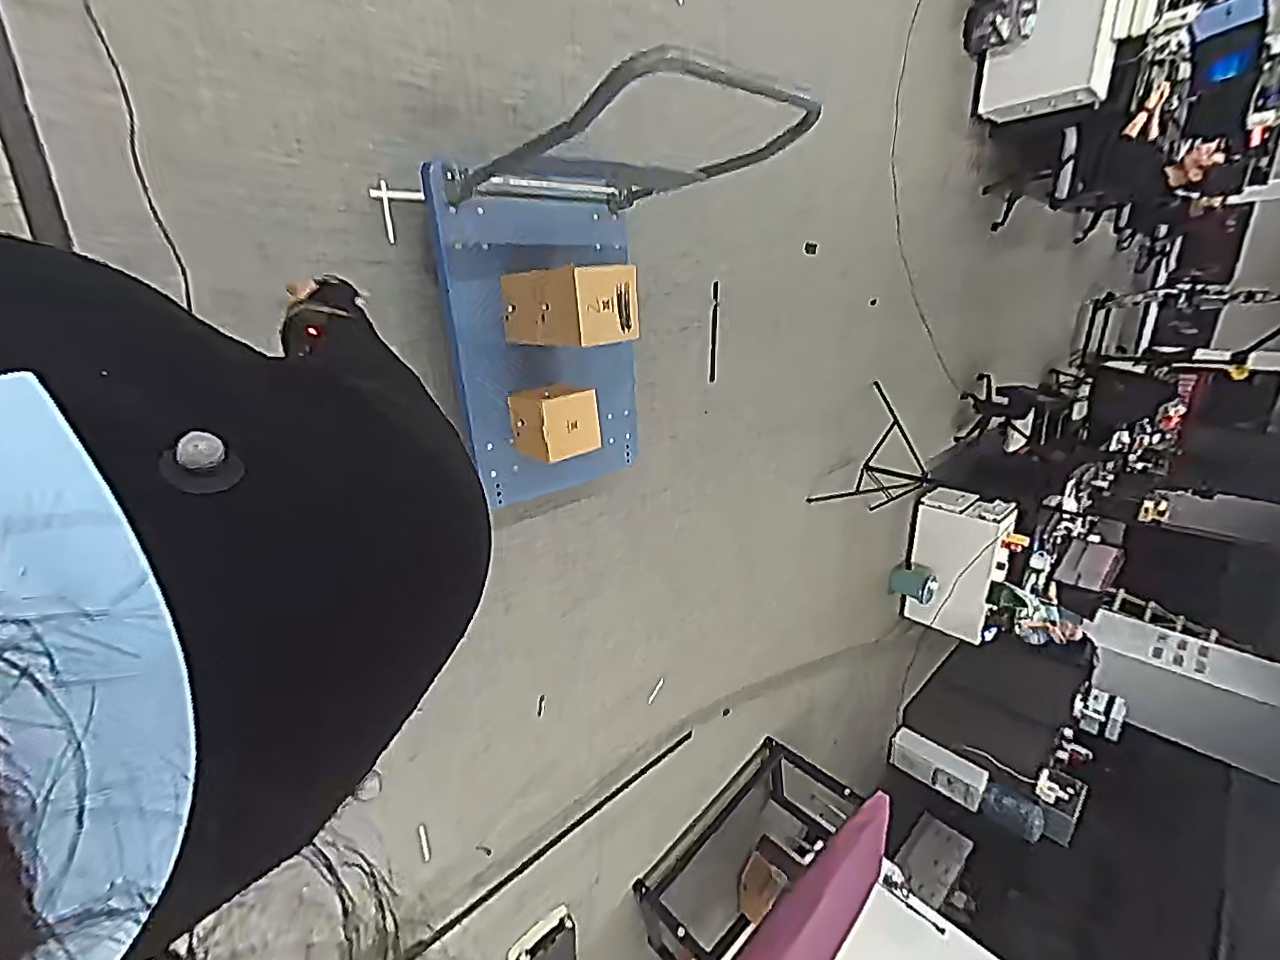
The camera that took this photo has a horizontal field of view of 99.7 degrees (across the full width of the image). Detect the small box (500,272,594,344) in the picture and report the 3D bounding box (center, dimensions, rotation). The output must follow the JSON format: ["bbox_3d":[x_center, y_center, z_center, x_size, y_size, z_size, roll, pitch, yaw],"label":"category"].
[{"bbox_3d":[-0.239,-0.442,1.396,0.179,0.176,0.168,-15,112,-40],"label":"small box"}]

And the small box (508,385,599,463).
[{"bbox_3d":[-0.237,-0.161,1.486,0.179,0.176,0.168,-22,117,-38],"label":"small box"}]
